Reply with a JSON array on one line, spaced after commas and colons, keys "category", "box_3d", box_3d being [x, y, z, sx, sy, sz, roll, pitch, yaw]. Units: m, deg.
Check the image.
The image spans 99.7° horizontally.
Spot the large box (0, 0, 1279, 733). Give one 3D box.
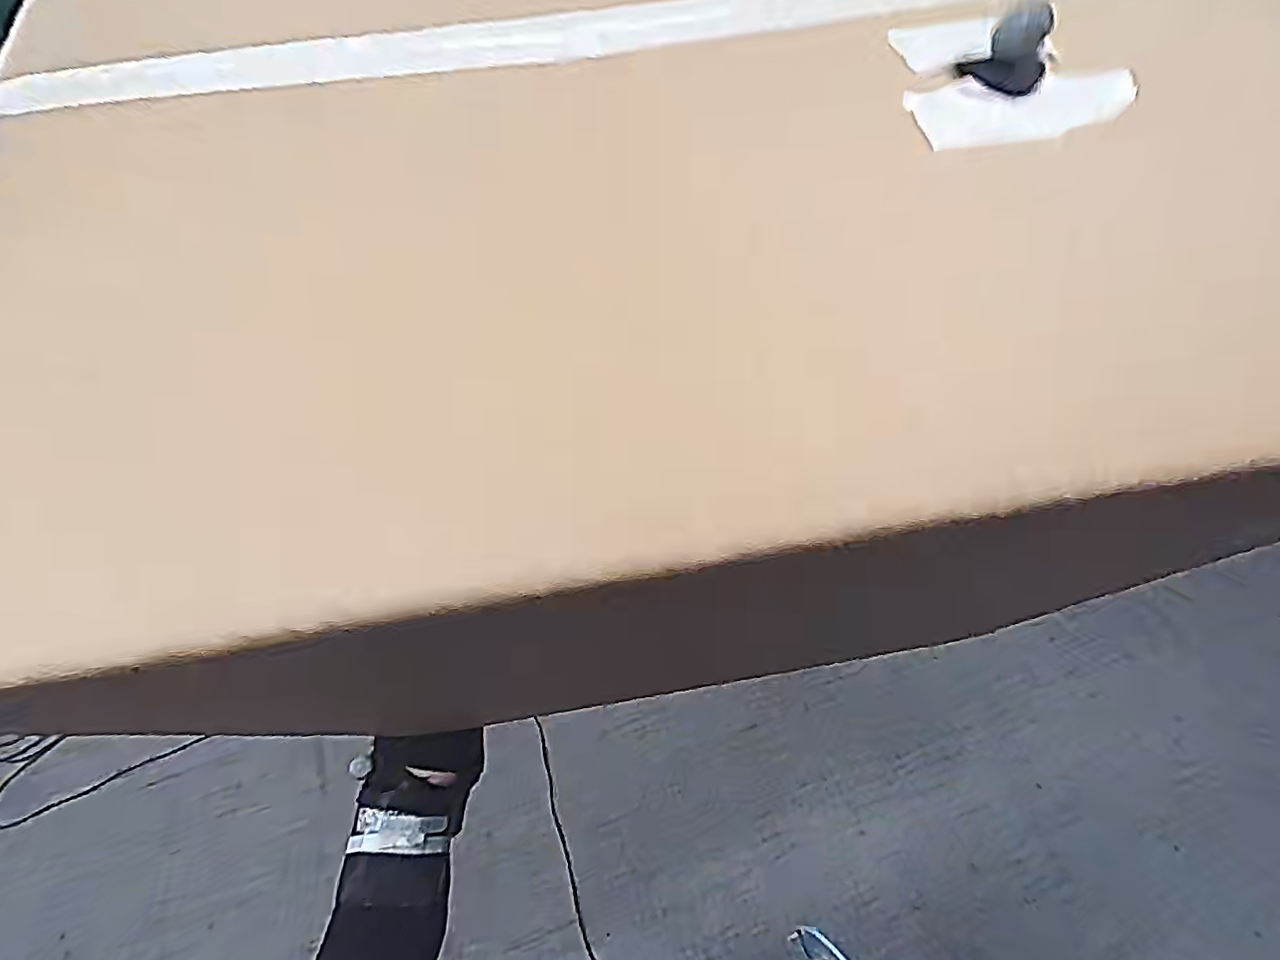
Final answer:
[{"category": "large box", "box_3d": [0.031, -0.065, 0.304, 0.408, 0.320, 0.320, -9, 65, -4]}]
